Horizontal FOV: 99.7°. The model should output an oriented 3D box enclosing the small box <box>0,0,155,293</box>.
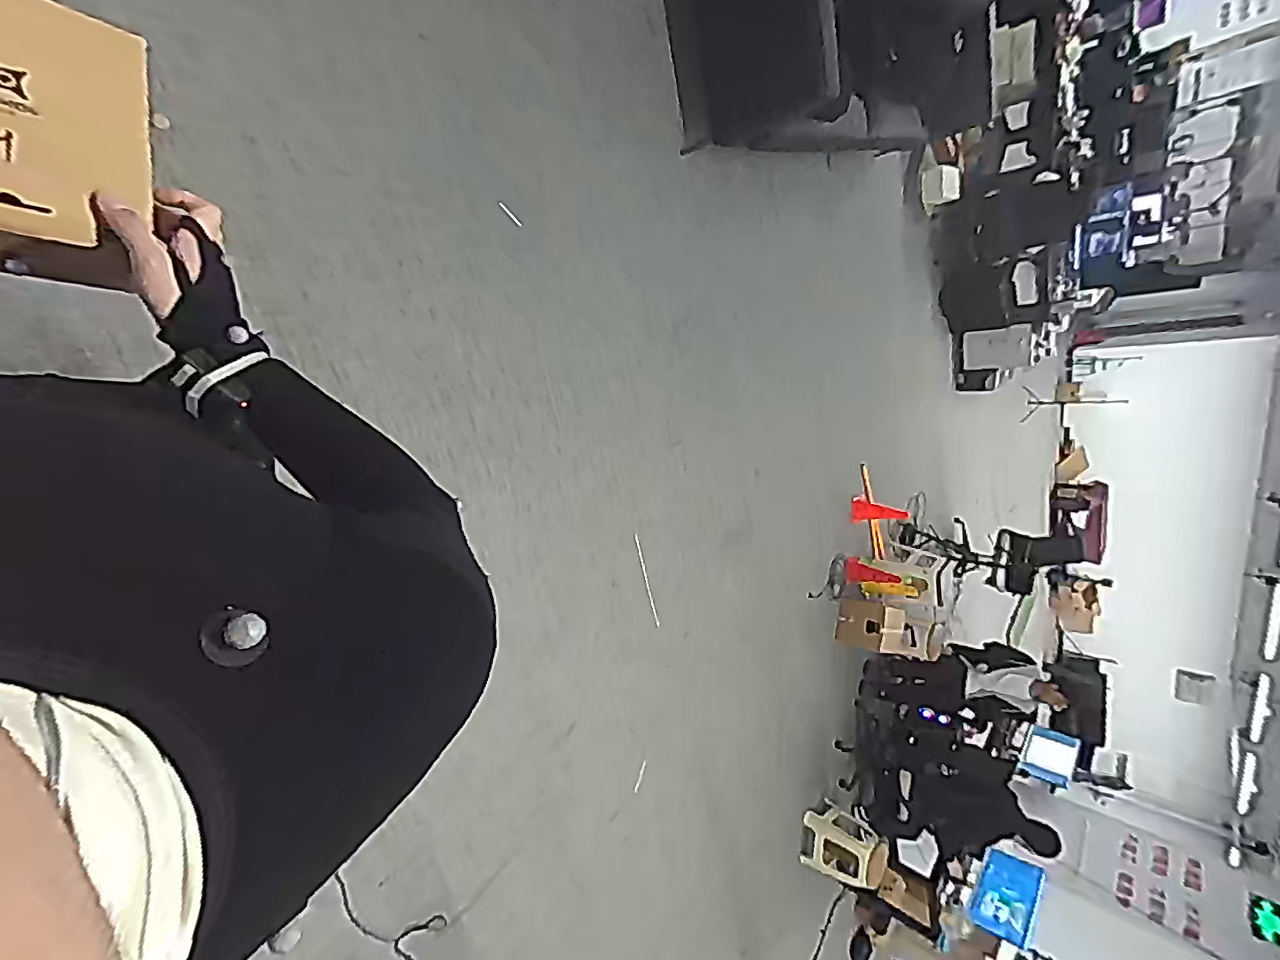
[{"bbox_3d":[-0.533,-0.285,0.455,0.168,0.176,0.179,6,84,-44],"label":"small box"}]
